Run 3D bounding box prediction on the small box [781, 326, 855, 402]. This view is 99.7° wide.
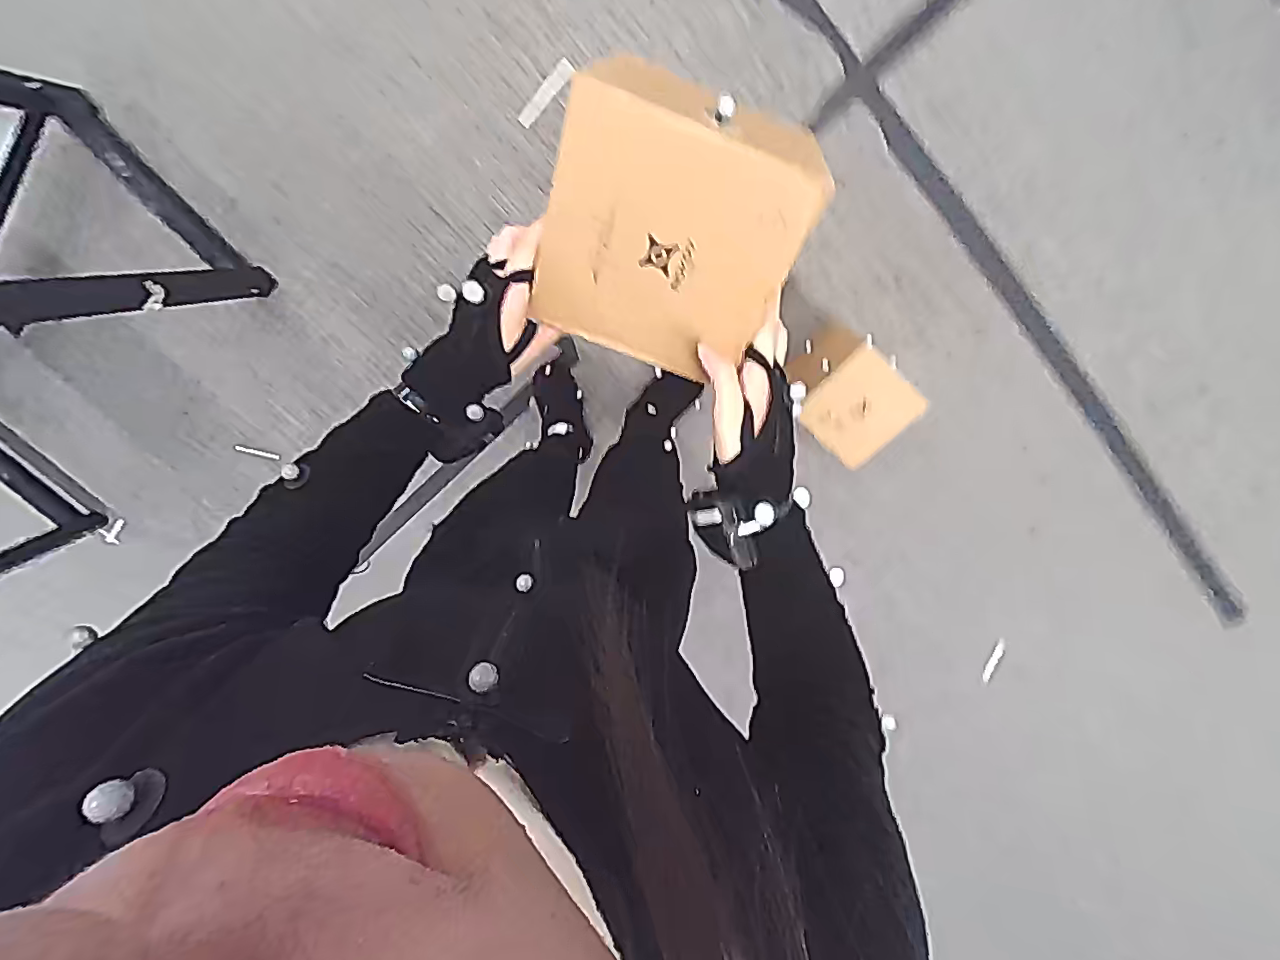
[{"bbox_3d":[0.427,-0.211,1.184,0.168,0.176,0.179,41,113,-10],"label":"small box"}]

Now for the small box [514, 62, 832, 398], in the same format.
[{"bbox_3d":[0.023,-0.200,0.427,0.179,0.176,0.168,20,131,-7],"label":"small box"}]

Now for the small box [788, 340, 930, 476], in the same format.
[{"bbox_3d":[0.404,-0.145,1.034,0.168,0.176,0.179,42,113,-10],"label":"small box"}]
